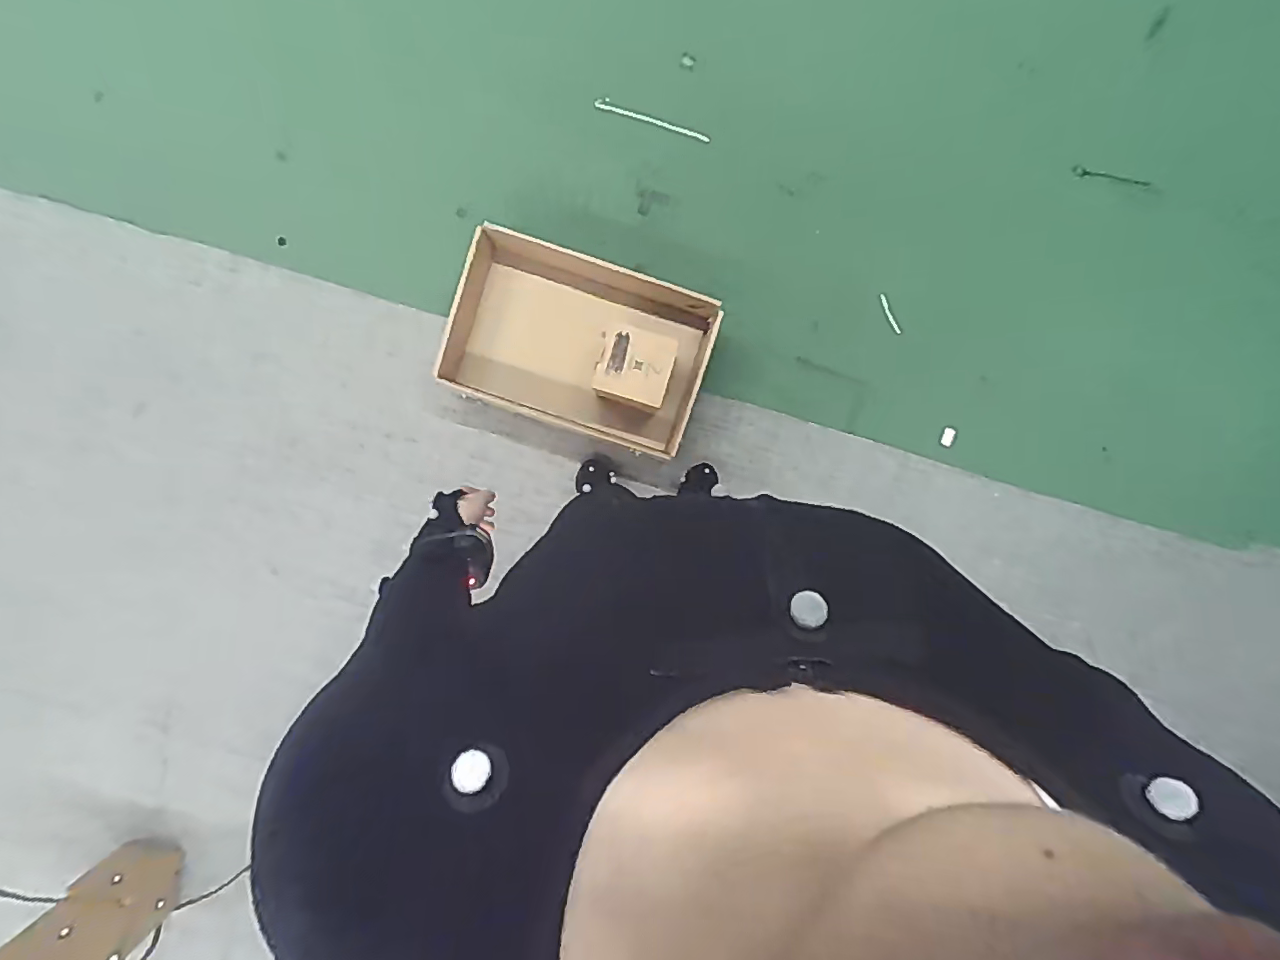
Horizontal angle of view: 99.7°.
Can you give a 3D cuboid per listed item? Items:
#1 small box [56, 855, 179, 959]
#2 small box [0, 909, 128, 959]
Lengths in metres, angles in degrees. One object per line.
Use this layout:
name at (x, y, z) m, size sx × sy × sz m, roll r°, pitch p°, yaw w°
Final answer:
small box at (-1.376, 1.133, 1.430) m, size 0.179 × 0.176 × 0.168 m, roll 8°, pitch 92°, yaw 0°
small box at (-1.374, 1.158, 1.267) m, size 0.179 × 0.176 × 0.168 m, roll 12°, pitch 93°, yaw -2°
